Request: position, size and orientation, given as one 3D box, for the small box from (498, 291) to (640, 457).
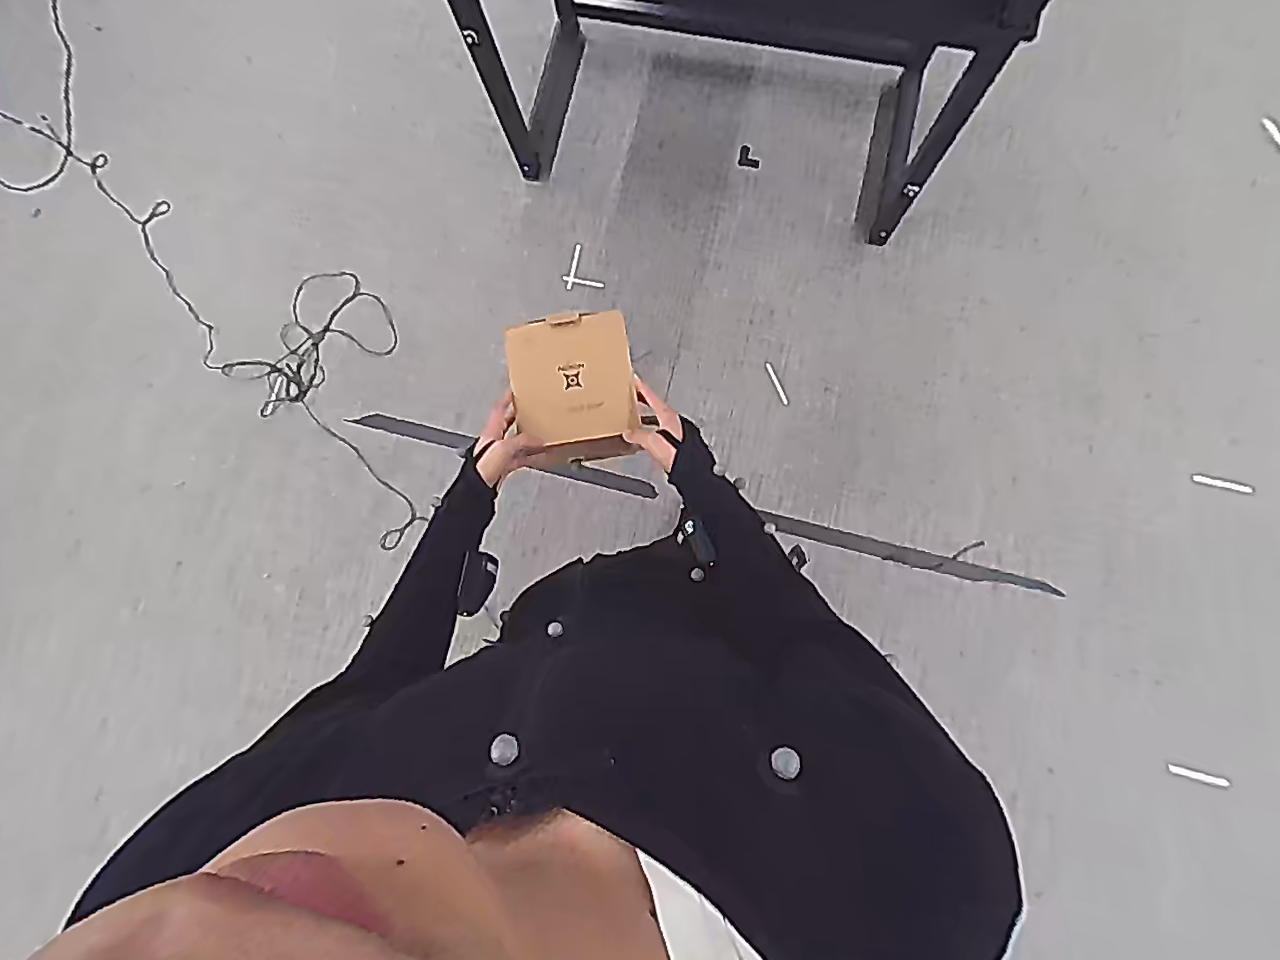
[{"bbox_3d":[-0.099,-0.144,0.781,0.168,0.176,0.179,-10,82,-5],"label":"small box"}]
